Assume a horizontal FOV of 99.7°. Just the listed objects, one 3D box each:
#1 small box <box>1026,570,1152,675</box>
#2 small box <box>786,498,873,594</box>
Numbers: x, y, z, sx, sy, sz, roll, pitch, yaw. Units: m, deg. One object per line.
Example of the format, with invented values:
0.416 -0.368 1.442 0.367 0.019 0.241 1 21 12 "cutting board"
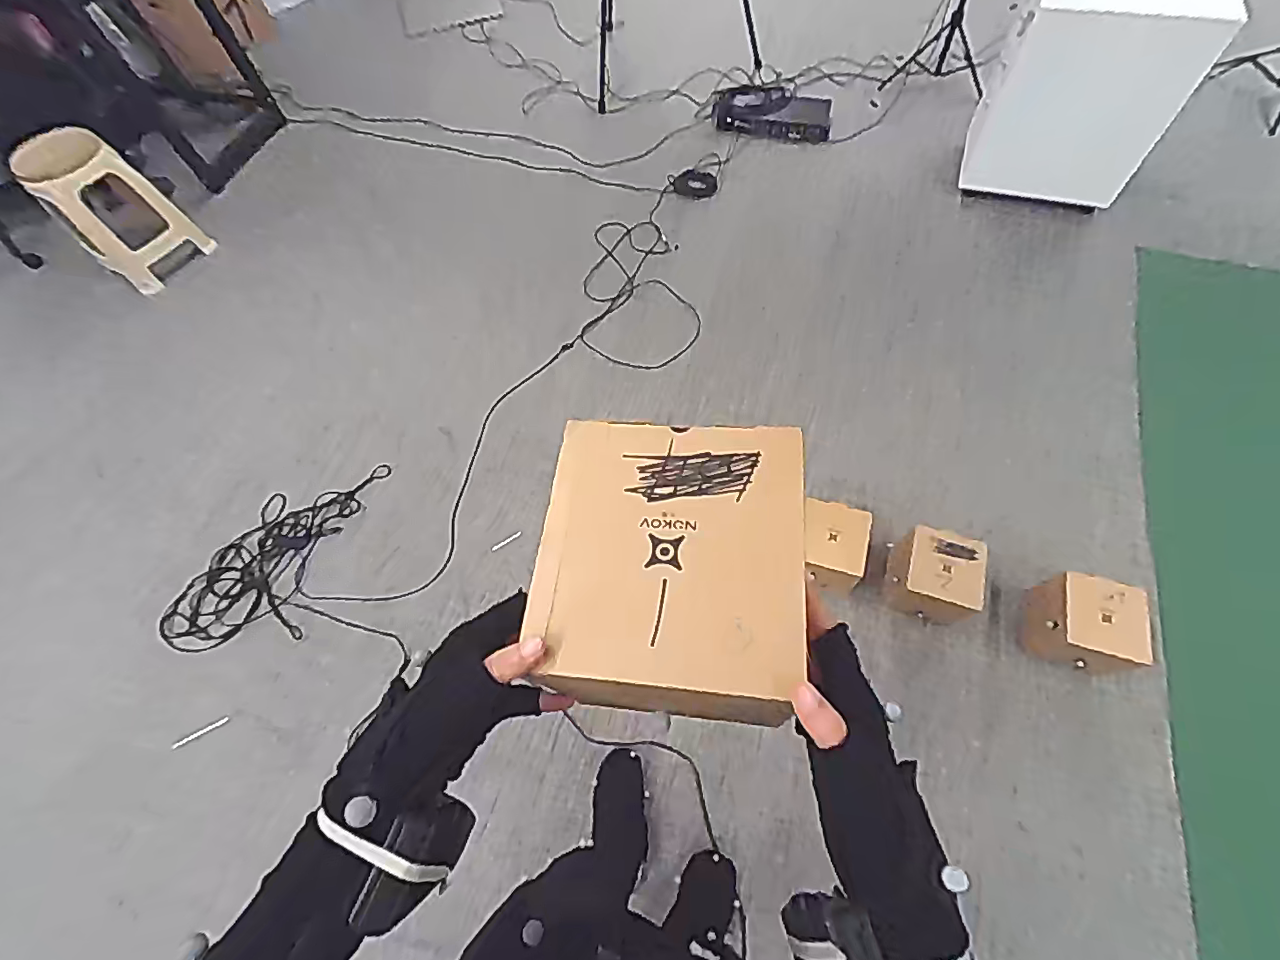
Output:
1.031 0.336 1.255 0.168 0.176 0.179 15 64 12 "small box"
0.480 0.174 1.388 0.168 0.176 0.179 14 64 12 "small box"
